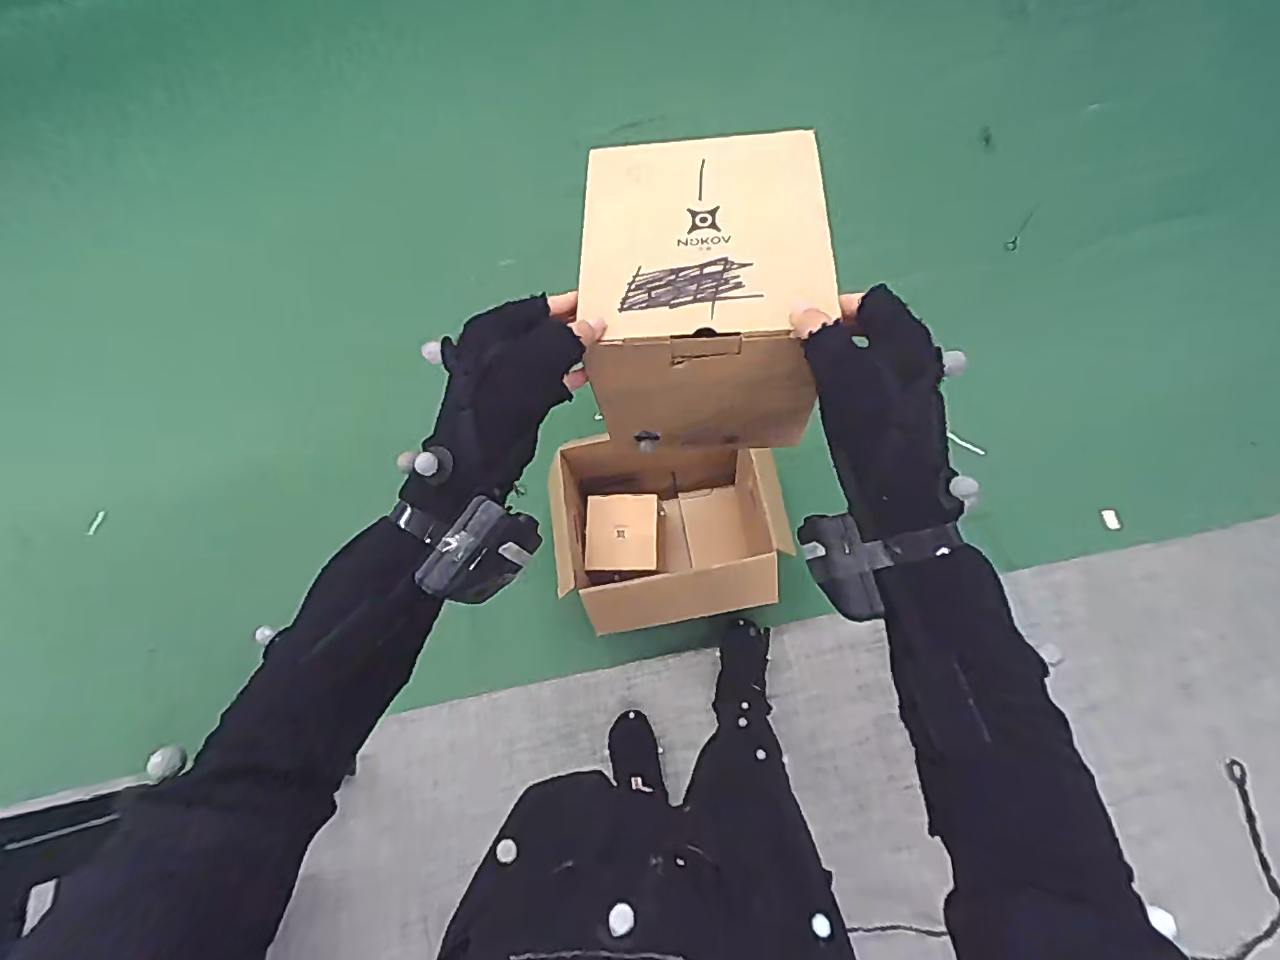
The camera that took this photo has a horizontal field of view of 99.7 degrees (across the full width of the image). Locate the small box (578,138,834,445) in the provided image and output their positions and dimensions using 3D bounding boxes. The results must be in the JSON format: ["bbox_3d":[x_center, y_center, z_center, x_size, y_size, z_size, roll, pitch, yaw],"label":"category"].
[{"bbox_3d":[0.052,-0.136,0.444,0.168,0.176,0.179,-1,68,6],"label":"small box"}]
